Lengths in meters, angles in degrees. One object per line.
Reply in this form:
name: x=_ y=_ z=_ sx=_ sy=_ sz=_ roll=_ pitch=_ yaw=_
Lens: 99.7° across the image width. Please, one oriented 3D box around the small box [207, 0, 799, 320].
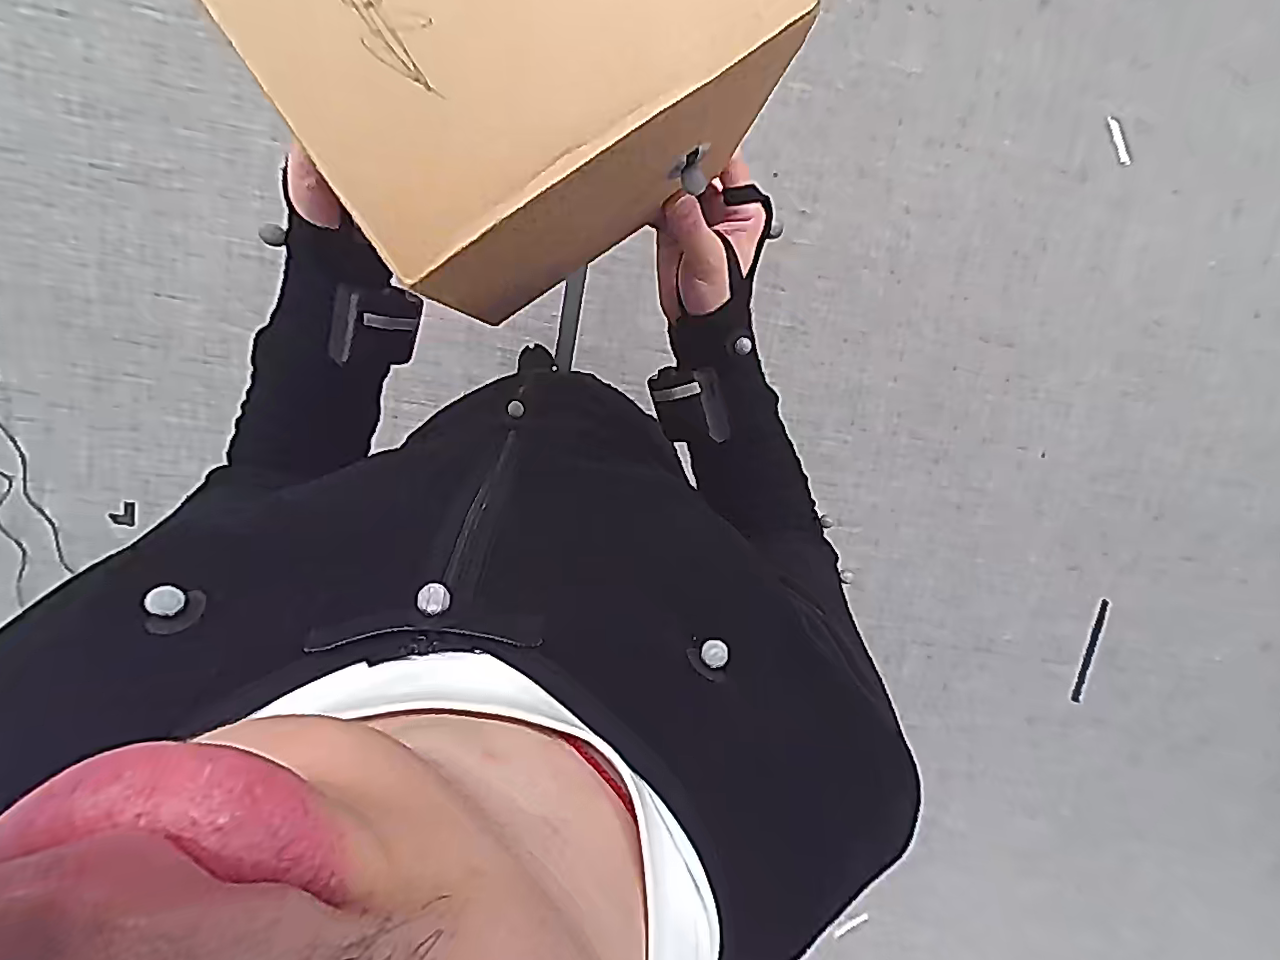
small box: x=-0.061 y=-0.198 z=0.261 sx=0.179 sy=0.176 sz=0.168 roll=-33 pitch=101 yaw=4
